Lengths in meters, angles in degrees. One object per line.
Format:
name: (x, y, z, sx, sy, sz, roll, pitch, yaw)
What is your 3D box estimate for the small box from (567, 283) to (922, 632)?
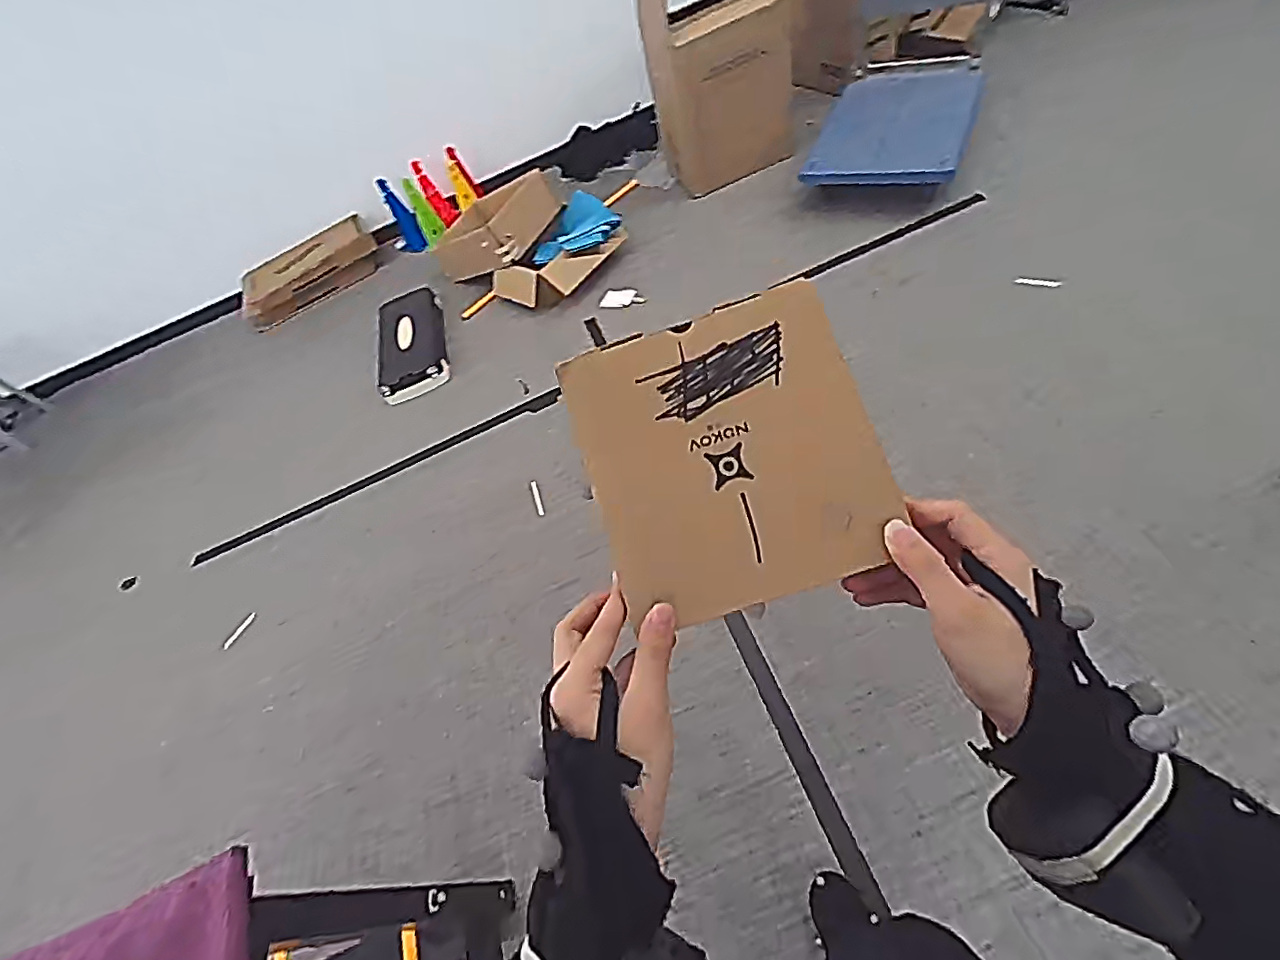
small box: (0.062, -0.003, 0.393, 0.168, 0.176, 0.179, -18, 78, 4)
